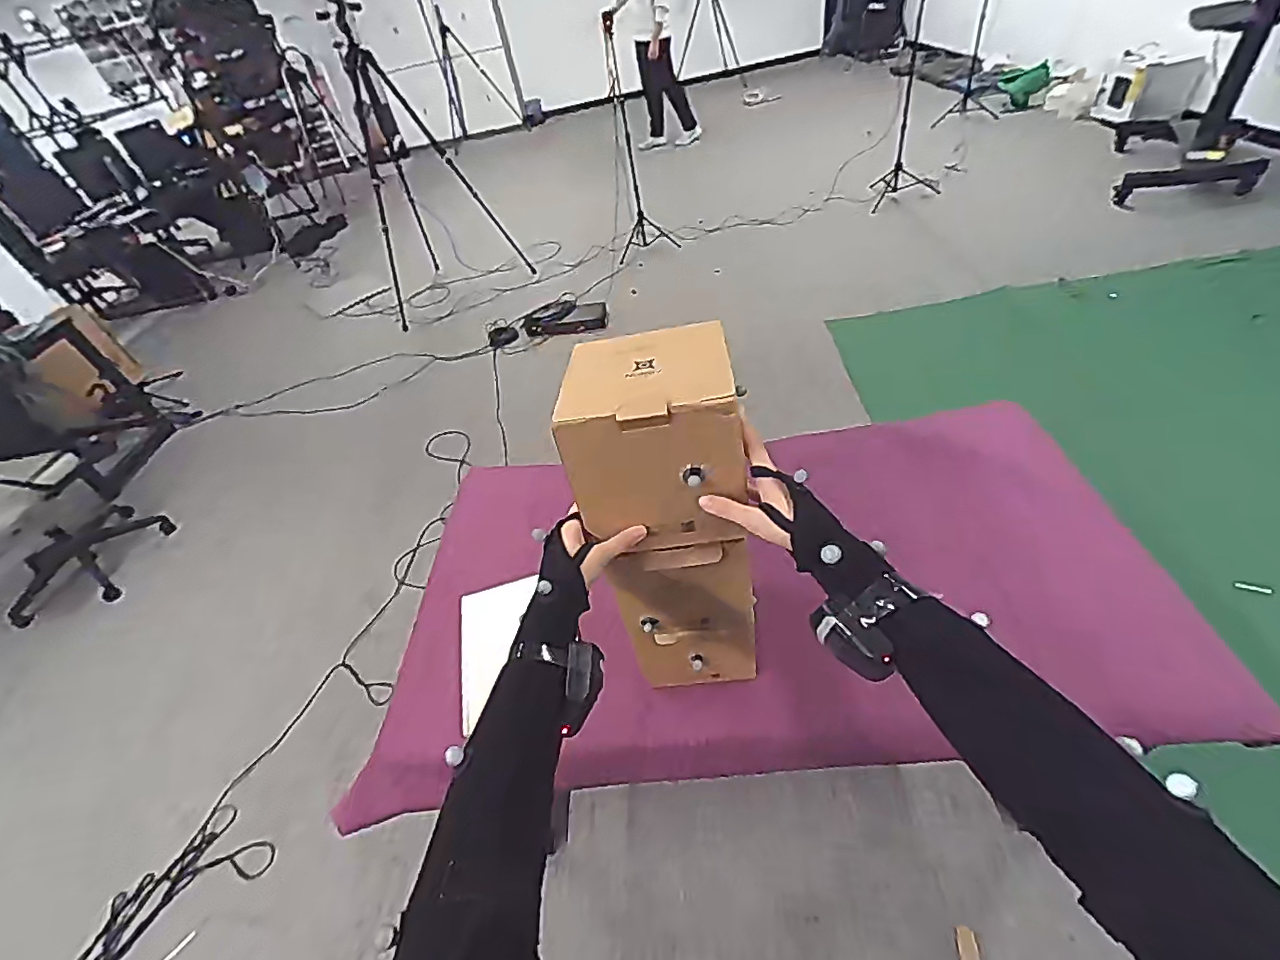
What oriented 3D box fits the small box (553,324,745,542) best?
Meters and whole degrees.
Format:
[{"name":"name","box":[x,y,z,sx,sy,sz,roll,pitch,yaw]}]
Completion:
[{"name":"small box","box":[0.020,-0.046,0.585,0.168,0.176,0.179,-7,36,8]}]

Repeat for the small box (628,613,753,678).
[{"name":"small box","box":[0.078,0.189,0.828,0.168,0.176,0.179,-7,44,6]}]

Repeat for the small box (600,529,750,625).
[{"name":"small box","box":[0.049,0.076,0.711,0.168,0.176,0.179,-7,42,7]}]
